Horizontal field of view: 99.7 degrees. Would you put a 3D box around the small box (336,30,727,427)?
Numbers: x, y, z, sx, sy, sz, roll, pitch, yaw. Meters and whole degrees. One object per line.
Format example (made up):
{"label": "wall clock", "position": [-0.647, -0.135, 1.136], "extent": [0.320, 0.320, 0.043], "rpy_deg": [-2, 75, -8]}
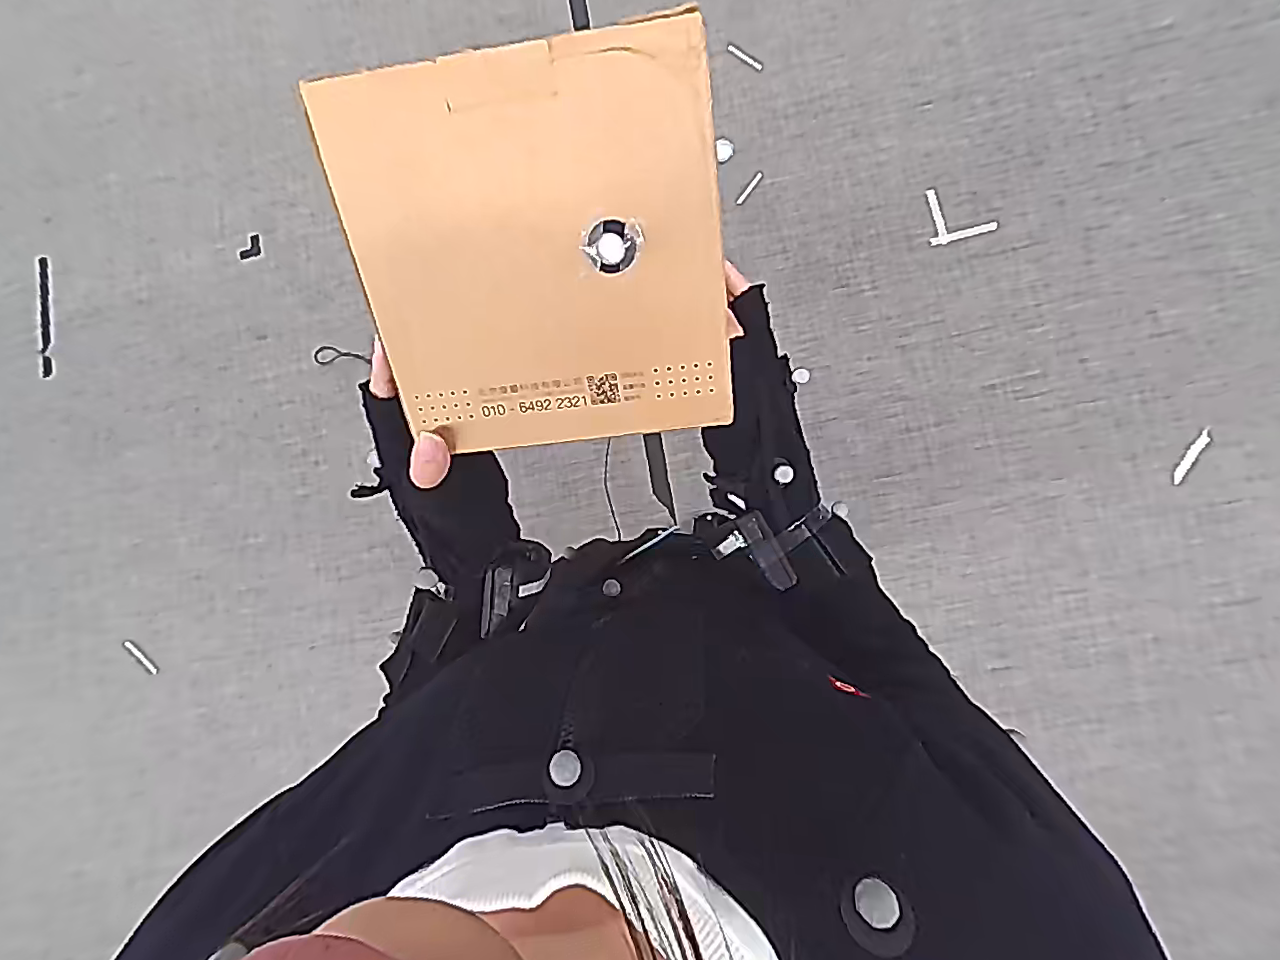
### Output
{"label": "small box", "position": [-0.038, -0.136, 0.336], "extent": [0.168, 0.179, 0.176], "rpy_deg": [-5, 116, 7]}
